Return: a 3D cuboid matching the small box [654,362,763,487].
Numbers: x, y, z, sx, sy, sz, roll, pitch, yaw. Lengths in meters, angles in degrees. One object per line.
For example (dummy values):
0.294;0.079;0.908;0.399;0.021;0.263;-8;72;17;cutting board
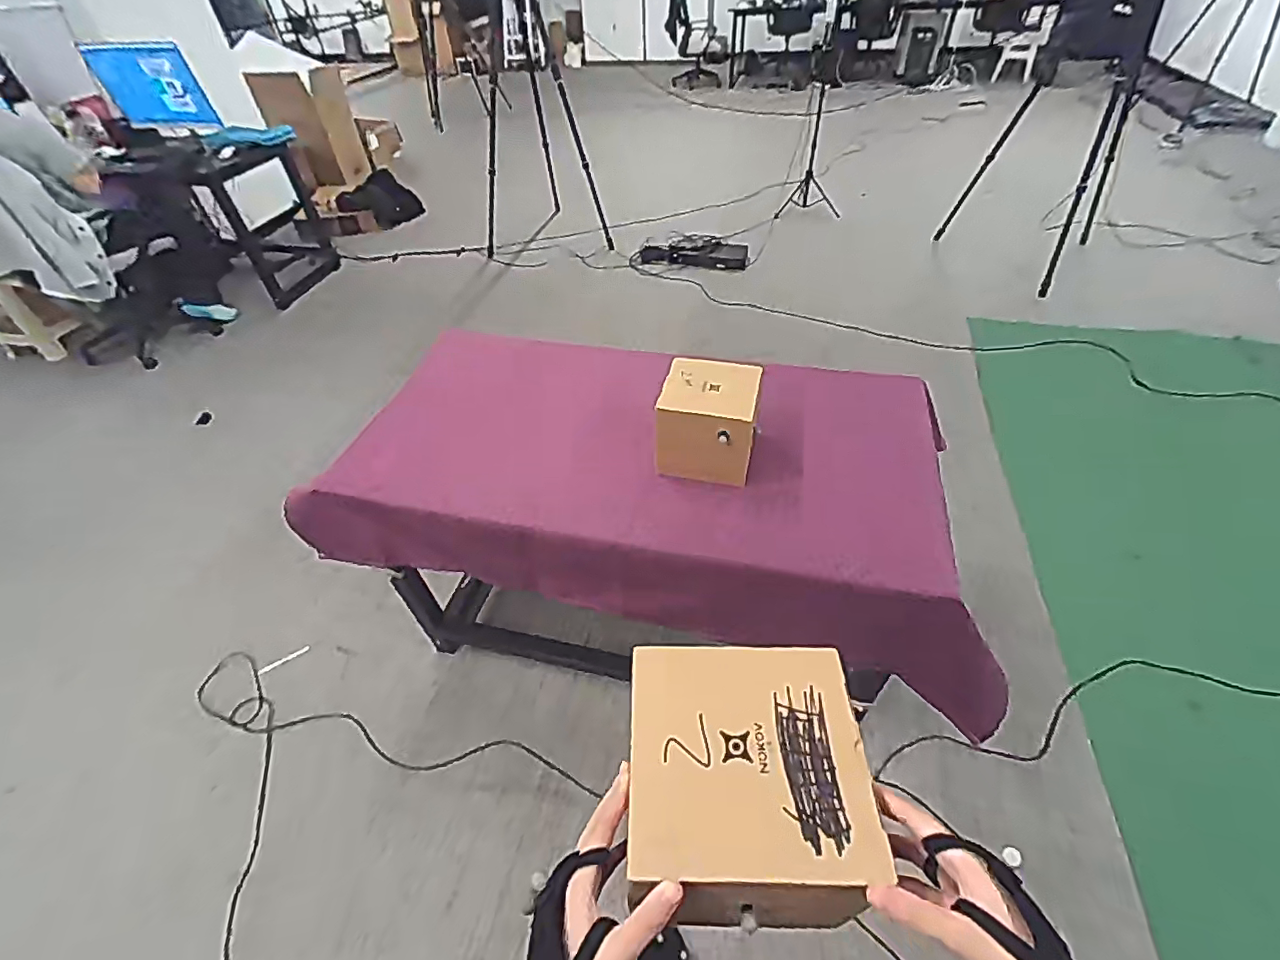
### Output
0.133;-0.105;1.050;0.179;0.176;0.168;9;47;13;small box
